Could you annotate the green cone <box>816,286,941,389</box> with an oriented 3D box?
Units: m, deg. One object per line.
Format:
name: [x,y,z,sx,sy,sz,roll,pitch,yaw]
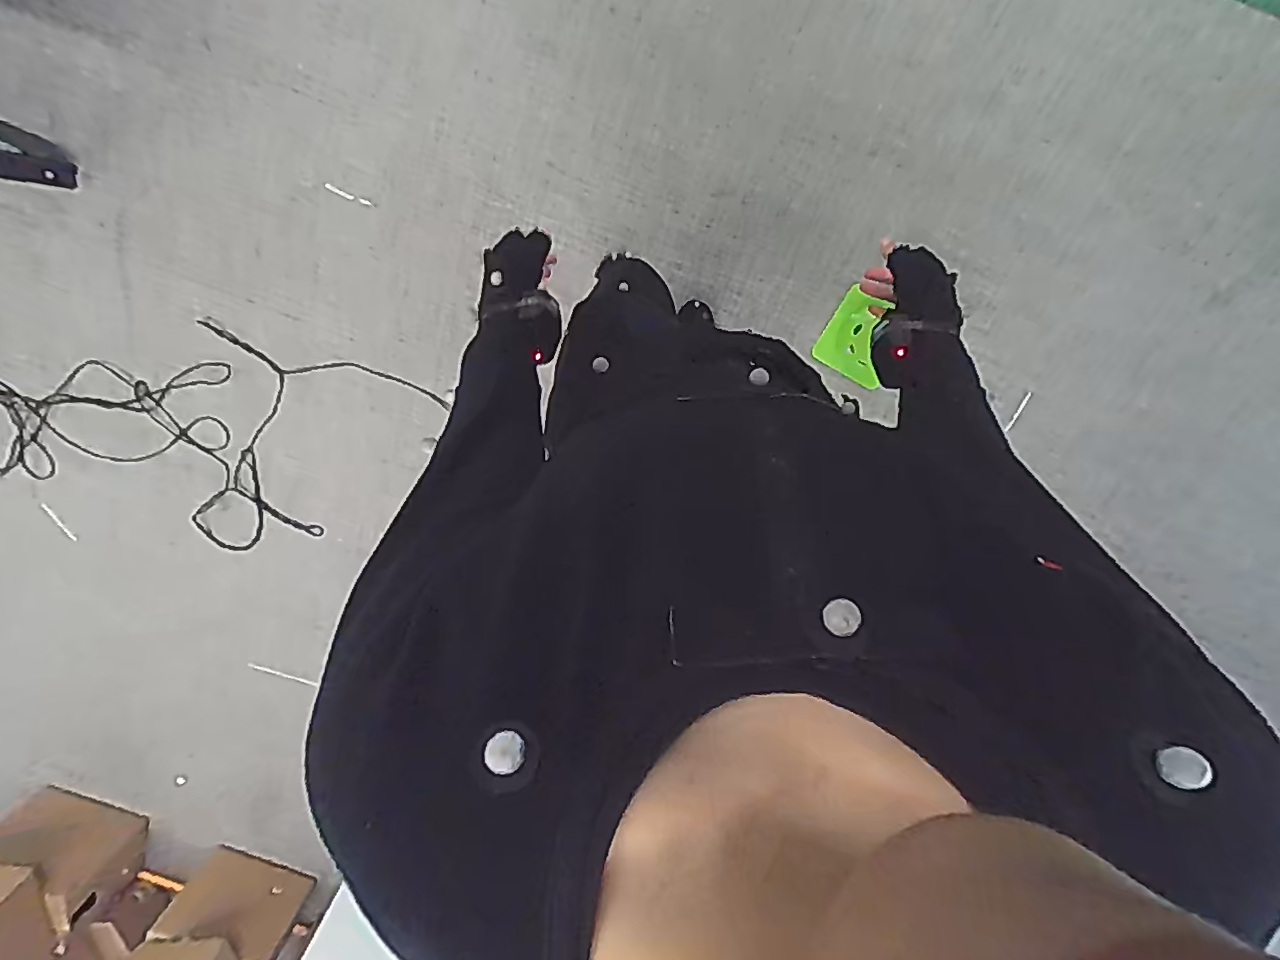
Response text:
green cone: [0.554,-0.293,1.178,0.200,0.368,0.202,26,109,-6]
